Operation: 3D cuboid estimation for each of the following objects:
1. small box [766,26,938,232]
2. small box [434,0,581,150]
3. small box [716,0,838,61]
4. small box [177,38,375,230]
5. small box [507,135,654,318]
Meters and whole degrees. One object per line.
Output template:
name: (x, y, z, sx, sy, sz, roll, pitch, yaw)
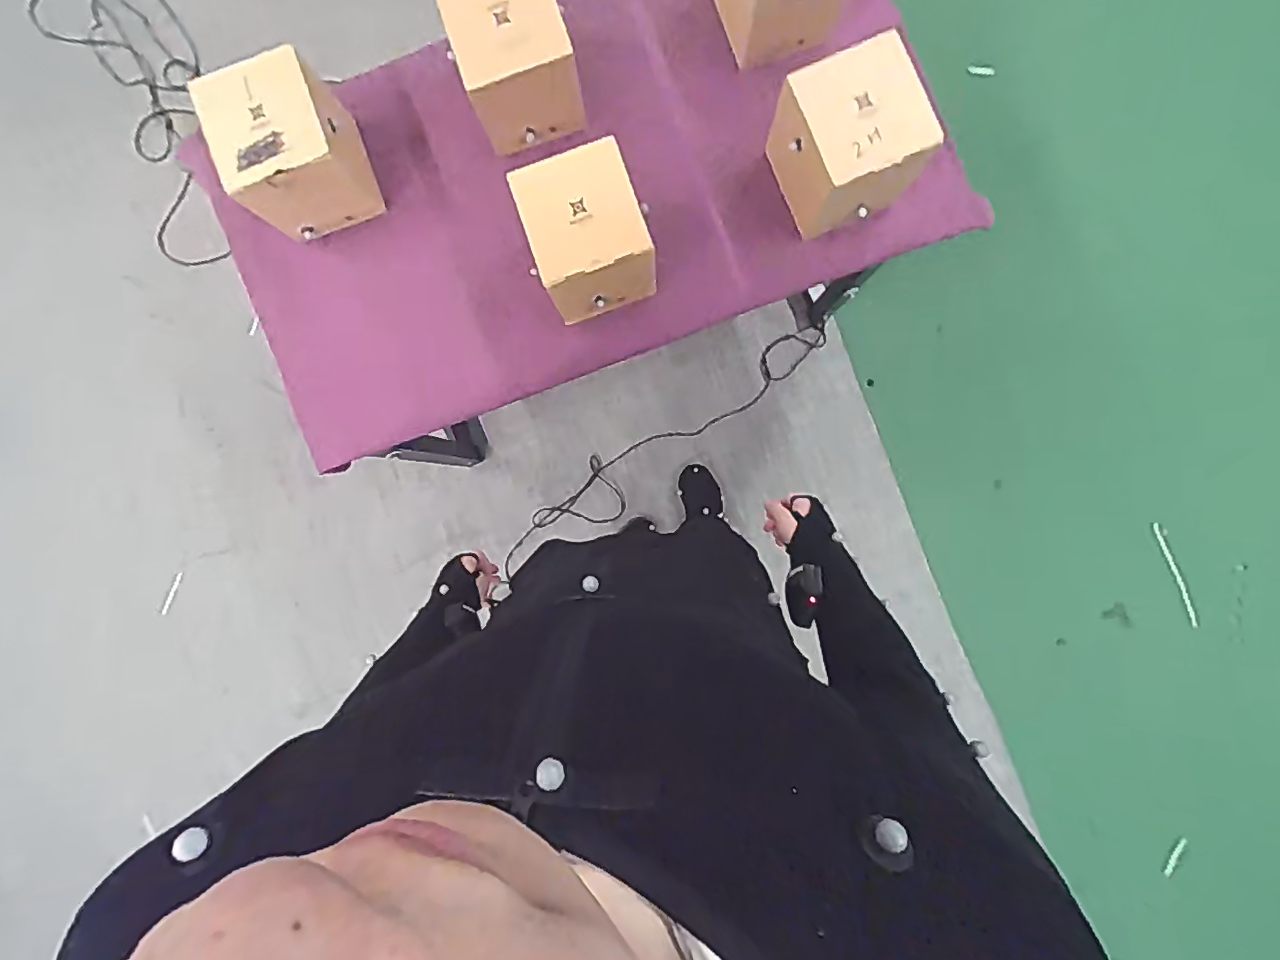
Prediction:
small box: (0.310, -0.522, 0.830, 0.168, 0.176, 0.179, -22, 90, 3)
small box: (-0.202, -0.665, 0.842, 0.168, 0.176, 0.179, -19, 91, 2)
small box: (0.210, -0.810, 0.832, 0.168, 0.176, 0.179, -20, 90, 2)
small box: (-0.549, -0.519, 0.844, 0.168, 0.176, 0.179, -20, 91, 0)
small box: (-0.085, -0.381, 0.842, 0.168, 0.176, 0.179, -20, 90, 1)
